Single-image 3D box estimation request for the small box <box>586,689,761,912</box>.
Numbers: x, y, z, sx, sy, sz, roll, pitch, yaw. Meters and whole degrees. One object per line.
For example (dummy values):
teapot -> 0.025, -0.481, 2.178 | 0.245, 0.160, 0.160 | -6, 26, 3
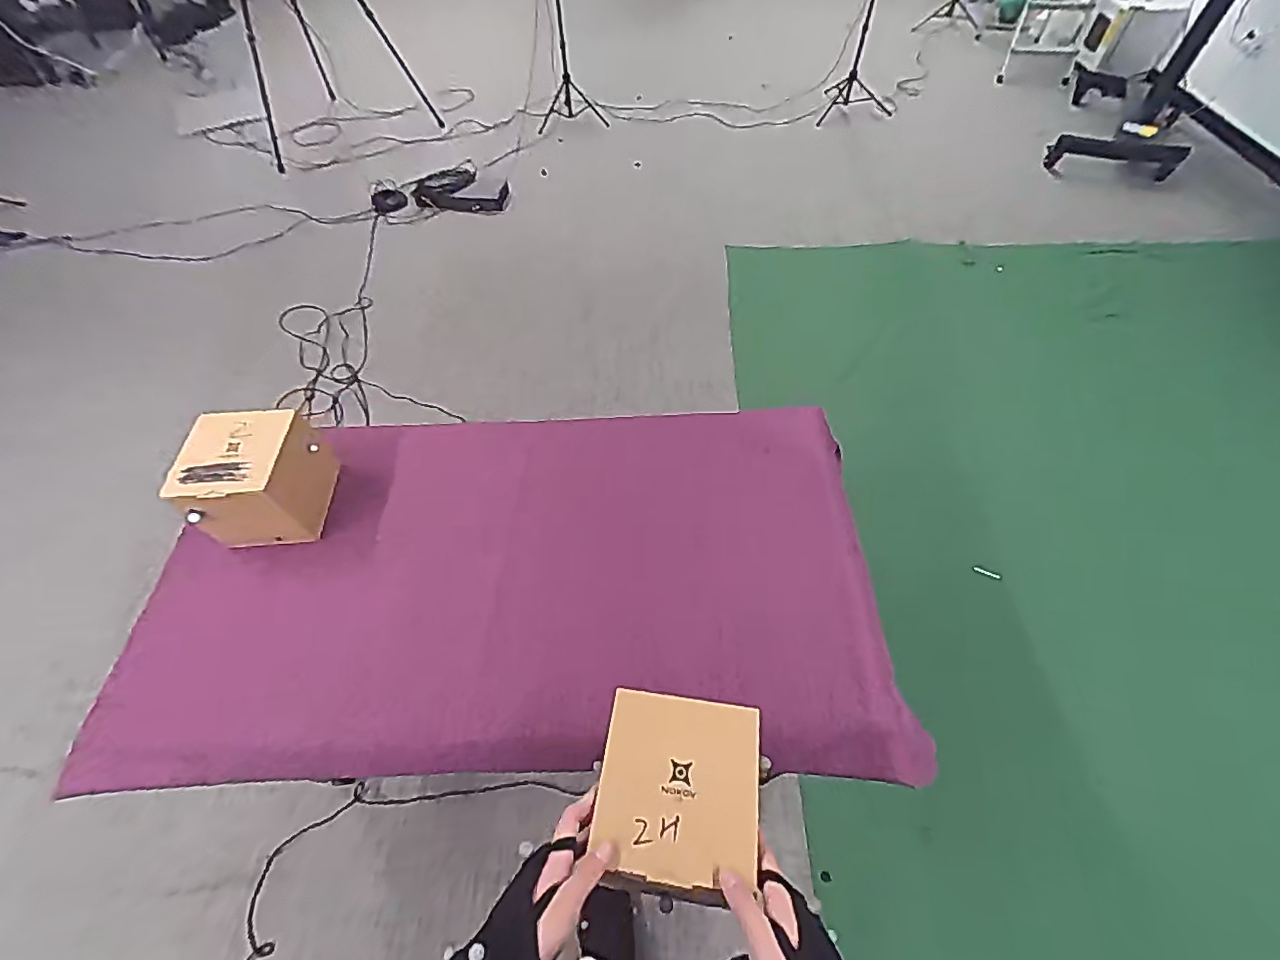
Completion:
small box -> 0.043, 0.369, 0.622 | 0.168, 0.176, 0.179 | 6, 50, 8
